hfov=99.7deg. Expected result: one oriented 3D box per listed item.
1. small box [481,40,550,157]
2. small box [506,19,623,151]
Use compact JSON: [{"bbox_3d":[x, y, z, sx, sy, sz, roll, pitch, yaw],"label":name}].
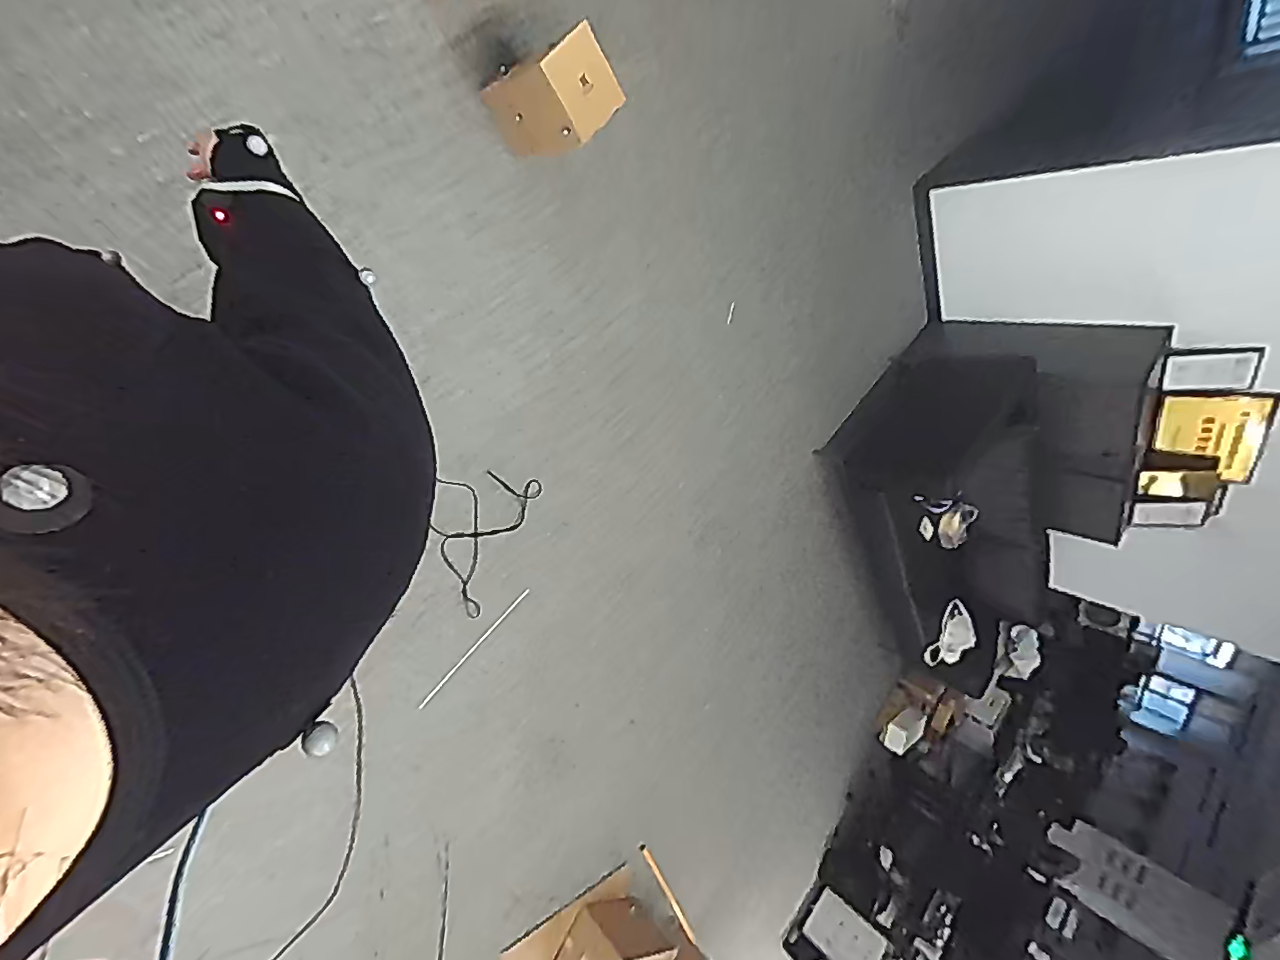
[{"bbox_3d":[-0.274,-0.965,1.383,0.168,0.176,0.179,-49,131,-16],"label":"small box"},{"bbox_3d":[-0.179,-0.910,1.263,0.168,0.176,0.179,-53,132,-13],"label":"small box"}]
